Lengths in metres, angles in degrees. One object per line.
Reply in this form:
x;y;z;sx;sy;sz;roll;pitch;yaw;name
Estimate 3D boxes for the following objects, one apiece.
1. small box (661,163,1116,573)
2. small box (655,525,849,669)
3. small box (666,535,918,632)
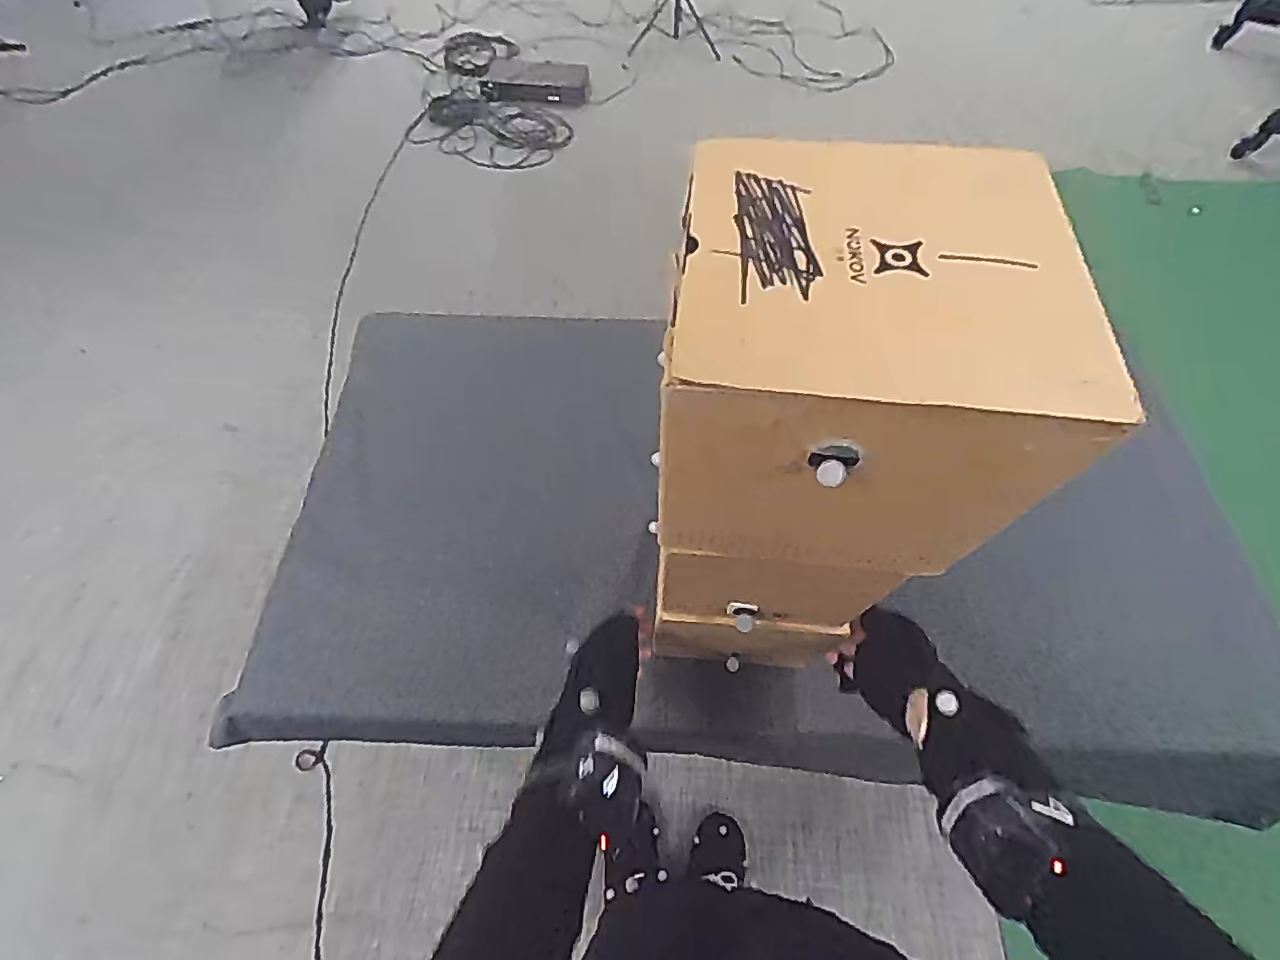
0.107;-0.055;0.319;0.179;0.176;0.168;6;61;4;small box
0.111;0.108;0.602;0.179;0.176;0.168;4;60;2;small box
0.109;0.020;0.466;0.168;0.176;0.179;2;62;4;small box
